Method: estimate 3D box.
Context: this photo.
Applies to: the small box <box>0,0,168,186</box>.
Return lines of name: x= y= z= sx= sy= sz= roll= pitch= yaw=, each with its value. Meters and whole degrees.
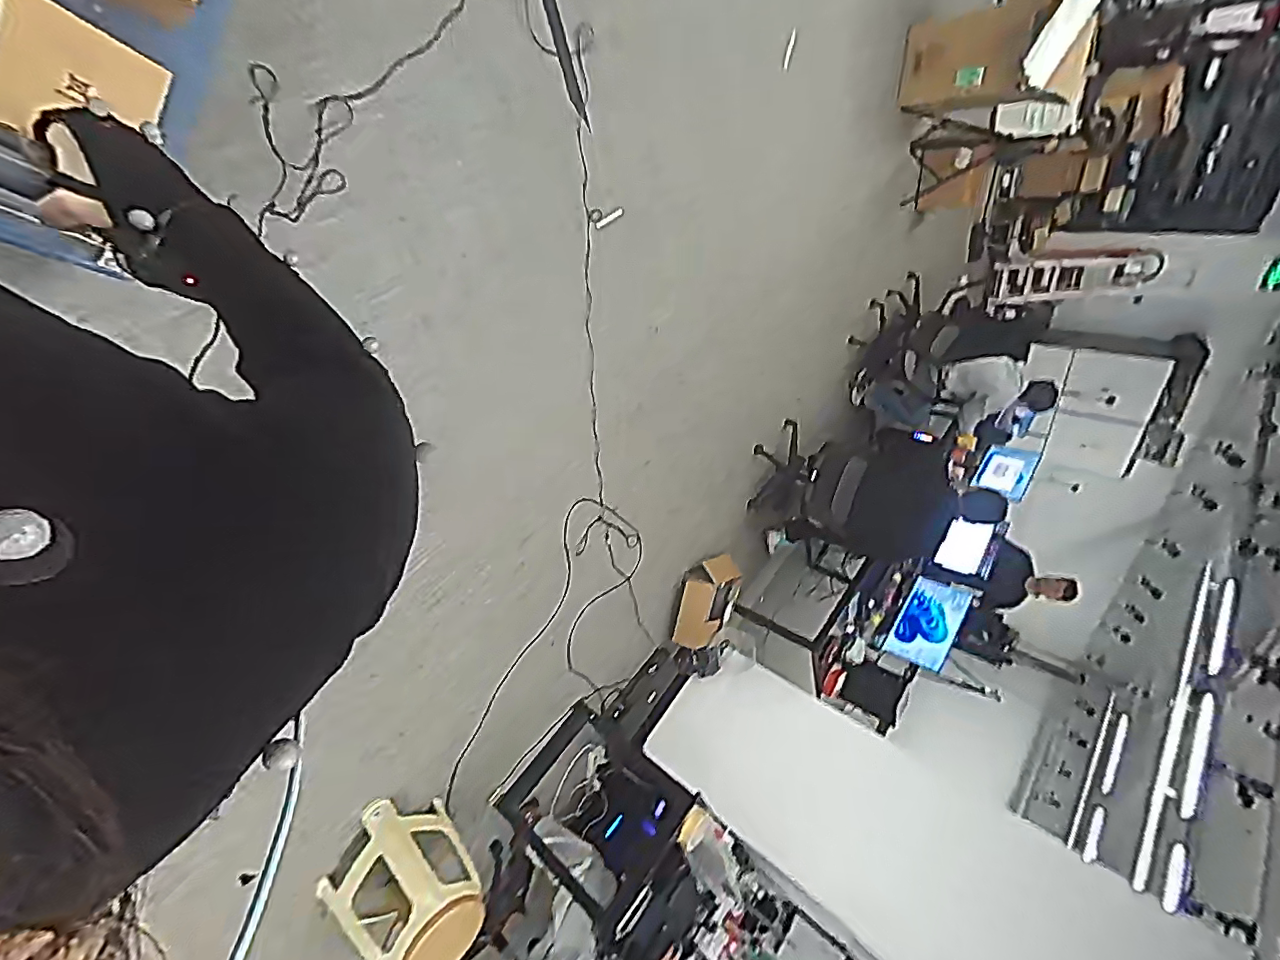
small box: x=-0.832 y=-0.556 z=0.787 sx=0.168 sy=0.176 sz=0.179 roll=16 pitch=93 yaw=-53

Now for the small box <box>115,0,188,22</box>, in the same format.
small box: x=-0.755 y=-0.801 z=0.762 sx=0.168 sy=0.176 sz=0.179 roll=-4 pitch=109 yaw=-50
